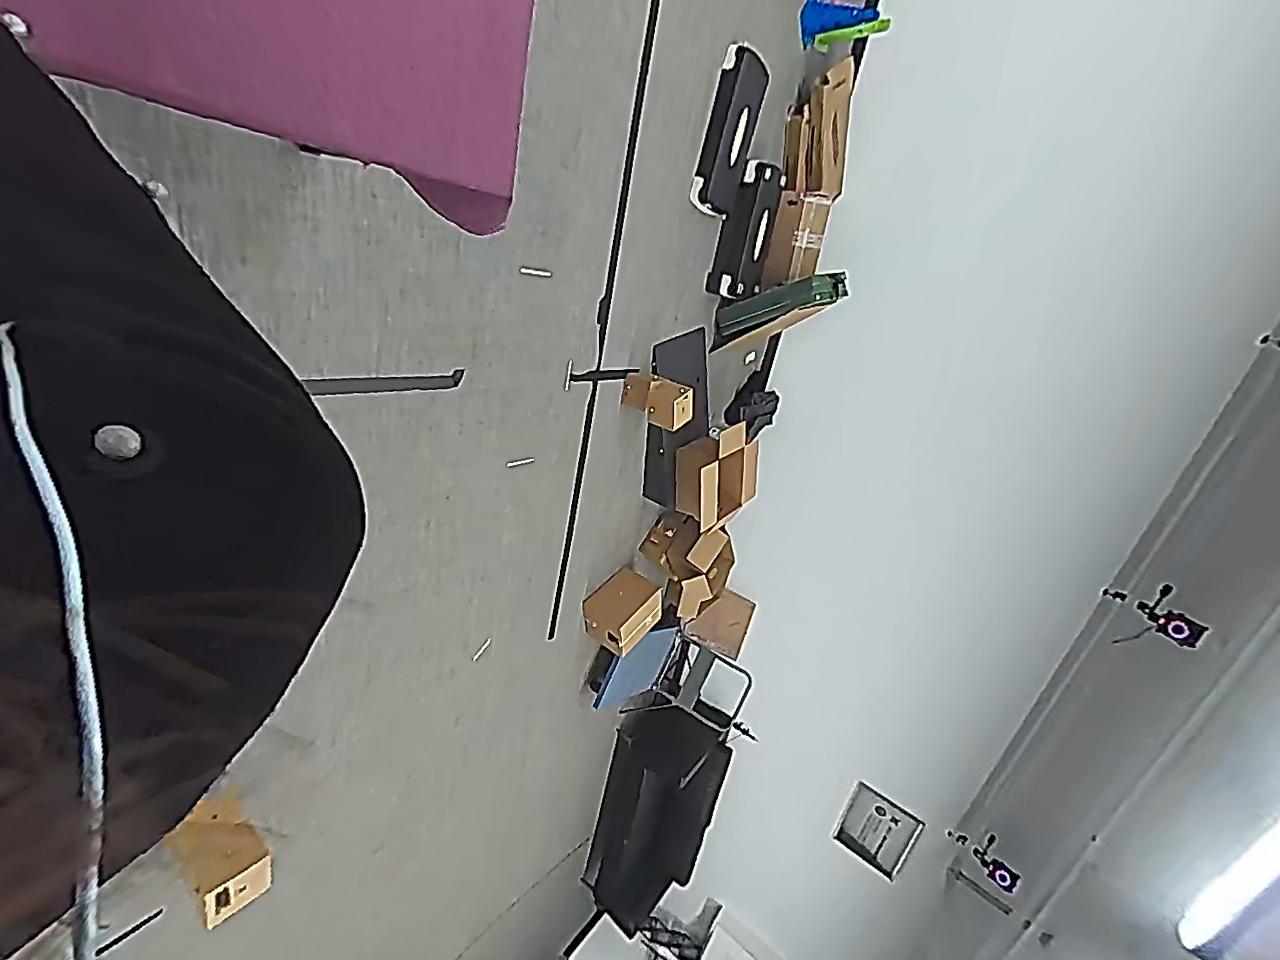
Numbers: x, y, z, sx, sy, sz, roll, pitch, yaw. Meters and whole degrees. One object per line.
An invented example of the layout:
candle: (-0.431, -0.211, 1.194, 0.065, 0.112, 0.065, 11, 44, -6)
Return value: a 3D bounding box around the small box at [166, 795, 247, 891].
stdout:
small box: (-1.424, 1.178, 1.777, 0.168, 0.176, 0.179, -17, 127, -53)
